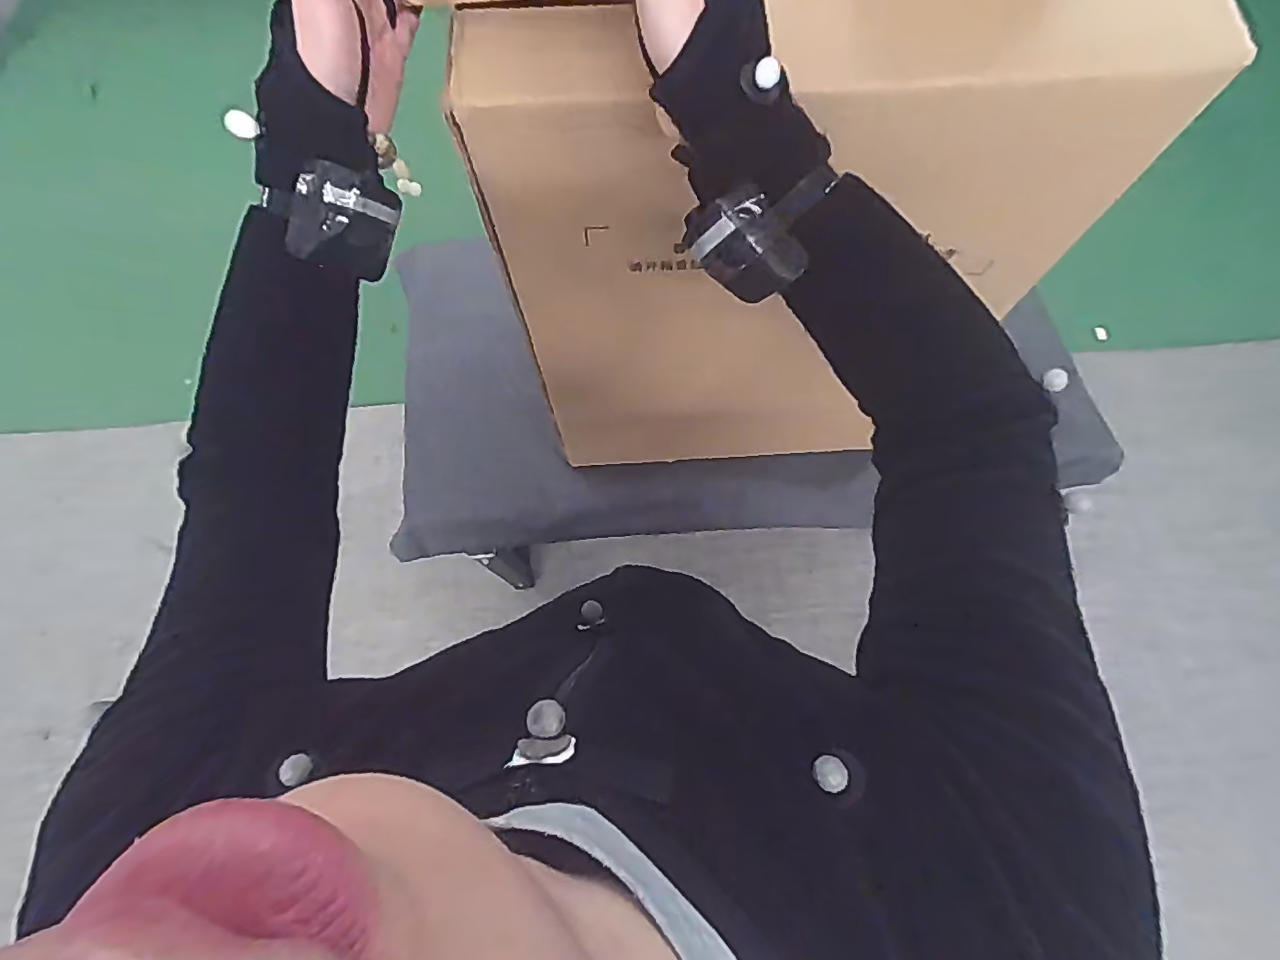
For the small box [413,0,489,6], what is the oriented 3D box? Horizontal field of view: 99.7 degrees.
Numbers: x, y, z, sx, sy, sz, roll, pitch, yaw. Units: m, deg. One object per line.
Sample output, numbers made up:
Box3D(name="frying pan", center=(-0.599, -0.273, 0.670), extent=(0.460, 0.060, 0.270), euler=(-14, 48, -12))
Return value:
Box3D(name="small box", center=(-0.075, -0.401, 0.287), extent=(0.179, 0.176, 0.168), euler=(1, 78, 7))
